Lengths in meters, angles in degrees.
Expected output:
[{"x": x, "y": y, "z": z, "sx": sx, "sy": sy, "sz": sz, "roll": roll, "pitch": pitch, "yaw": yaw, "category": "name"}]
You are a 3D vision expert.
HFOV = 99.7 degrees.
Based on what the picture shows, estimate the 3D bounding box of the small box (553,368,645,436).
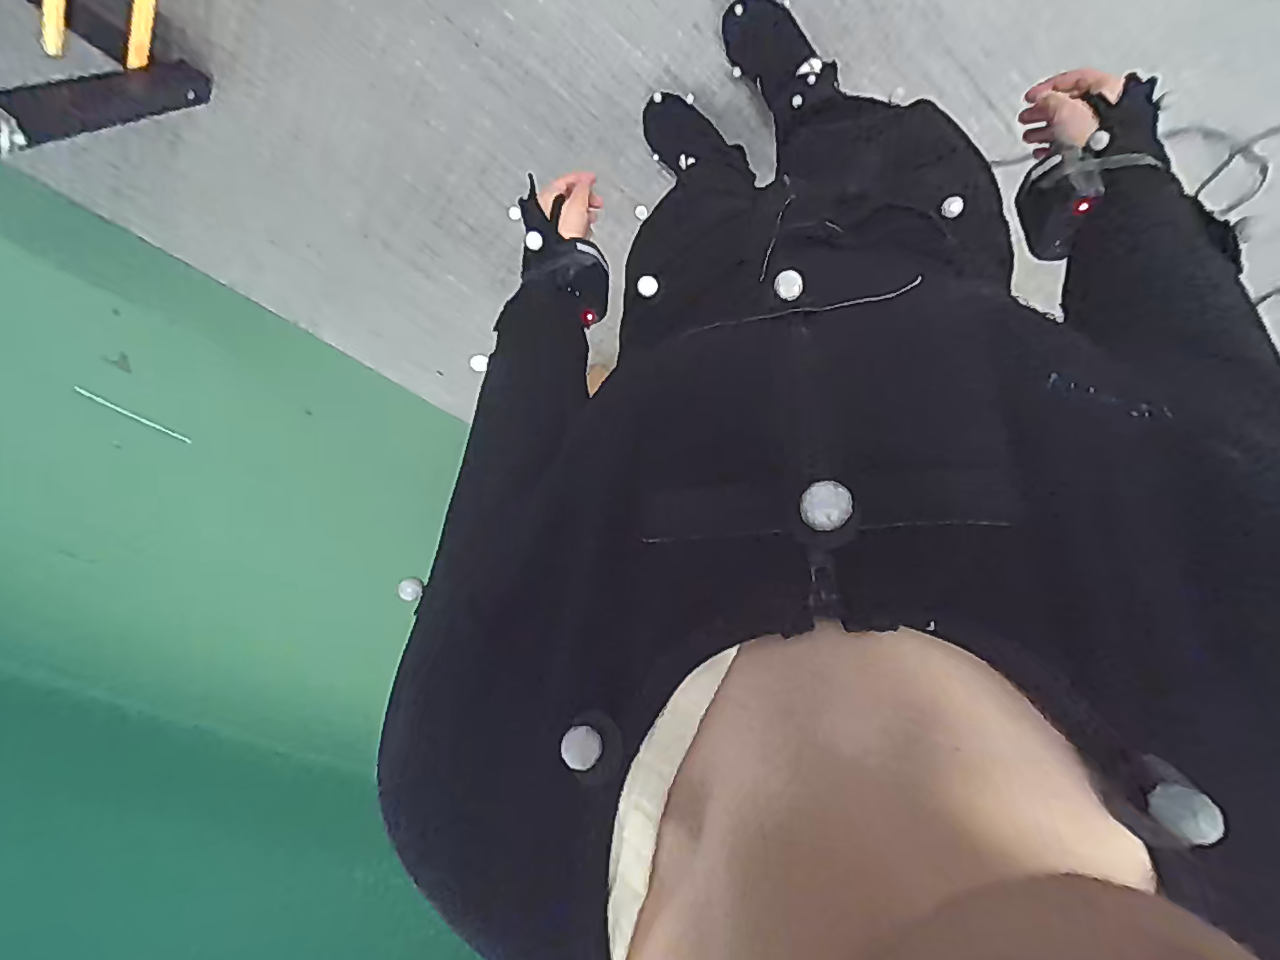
[{"x": -0.104, "y": -0.174, "z": 1.442, "sx": 0.179, "sy": 0.176, "sz": 0.168, "roll": 33, "pitch": 128, "yaw": -24, "category": "small box"}]
